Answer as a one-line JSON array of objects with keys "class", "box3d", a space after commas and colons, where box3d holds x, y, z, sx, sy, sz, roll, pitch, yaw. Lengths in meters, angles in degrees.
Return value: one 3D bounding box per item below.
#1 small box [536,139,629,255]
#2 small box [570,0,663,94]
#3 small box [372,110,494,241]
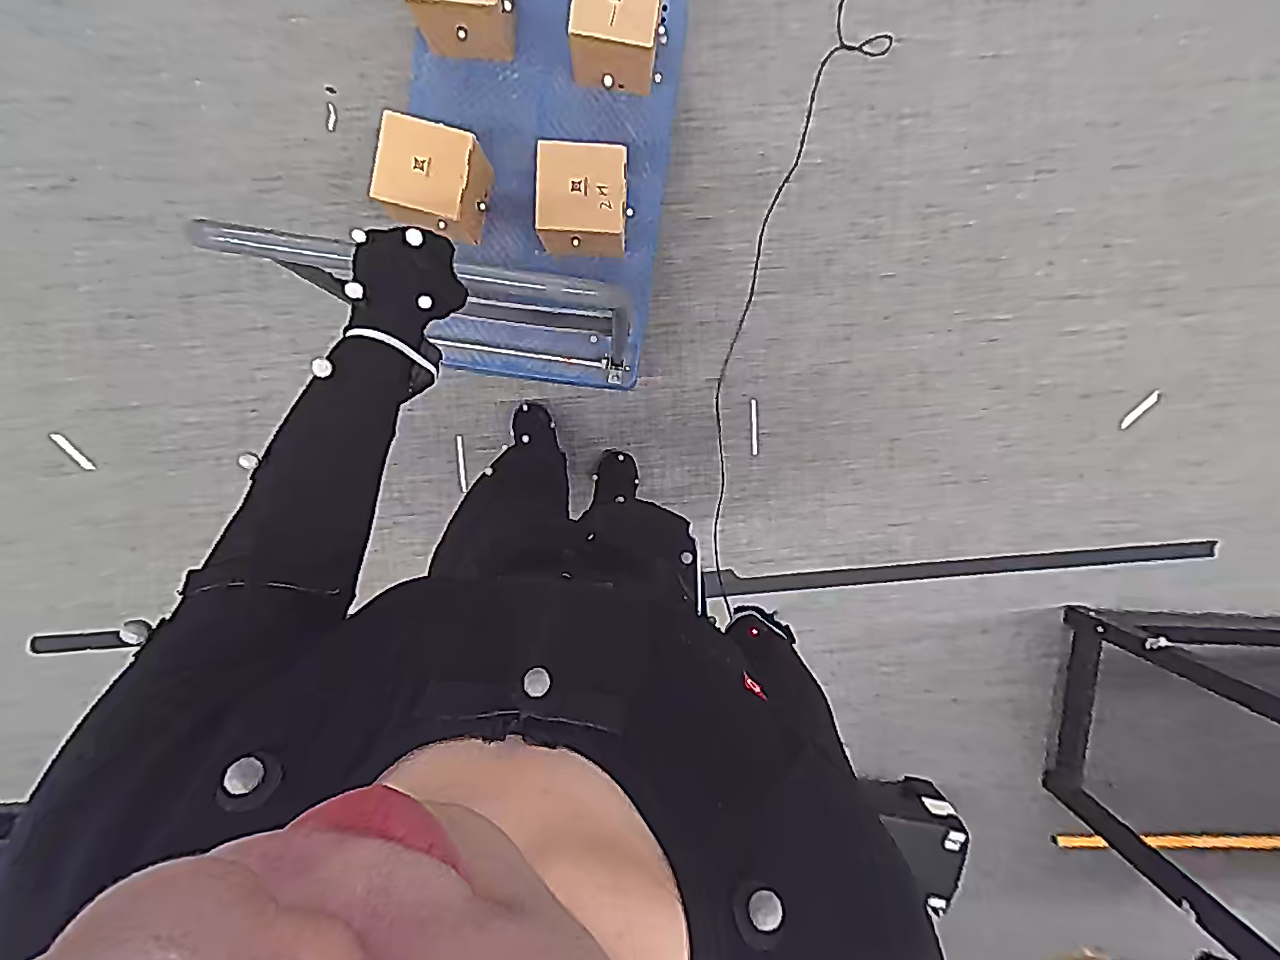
[{"class": "small box", "box3d": [-0.115, -0.583, 1.133, 0.179, 0.176, 0.168, 3, 97, -2]}, {"class": "small box", "box3d": [-0.043, -0.932, 1.091, 0.168, 0.176, 0.179, 9, 98, -3]}, {"class": "small box", "box3d": [-0.421, -0.618, 1.121, 0.179, 0.176, 0.168, 12, 96, -5]}]
